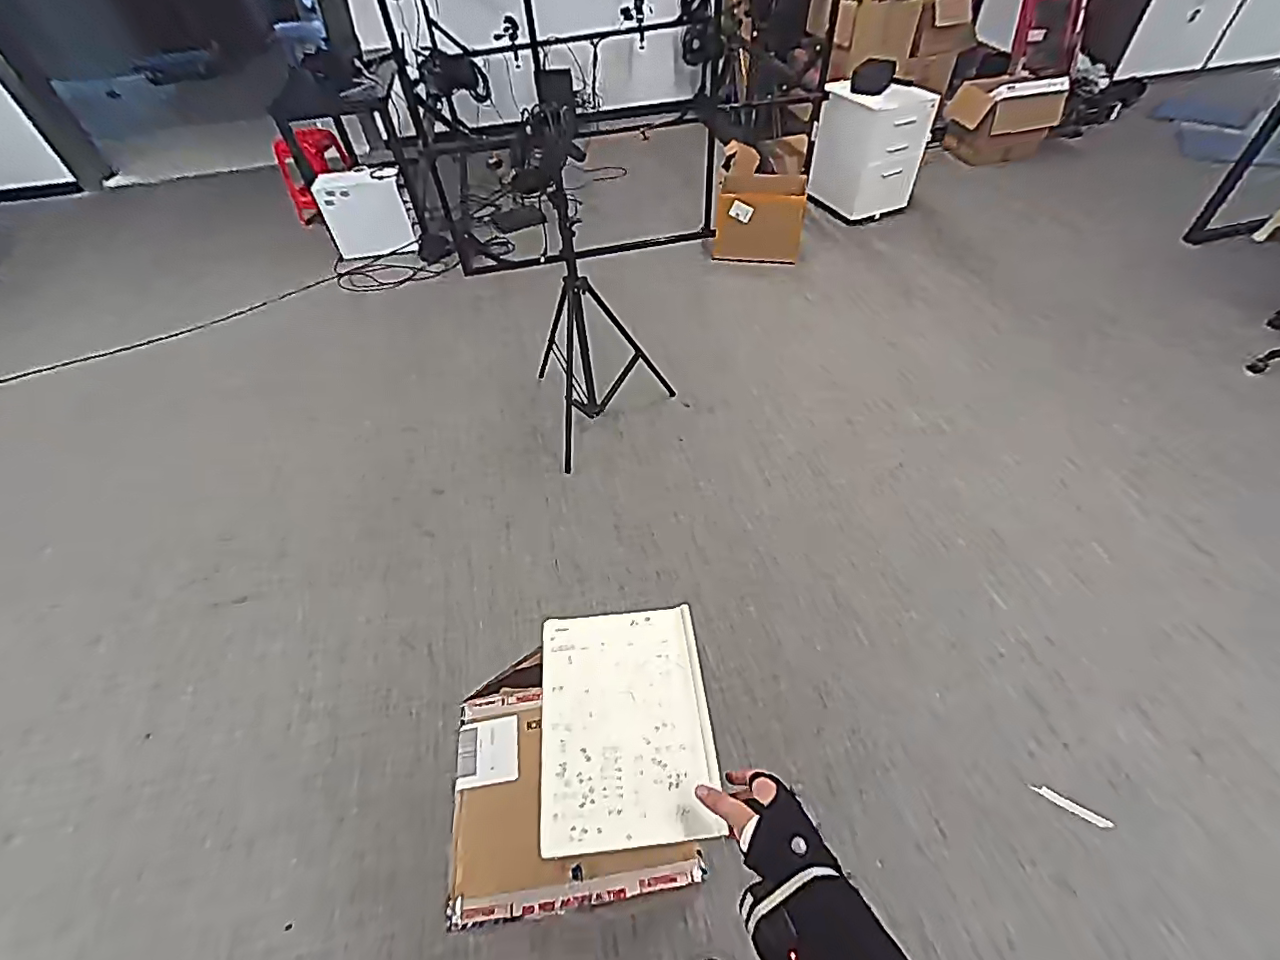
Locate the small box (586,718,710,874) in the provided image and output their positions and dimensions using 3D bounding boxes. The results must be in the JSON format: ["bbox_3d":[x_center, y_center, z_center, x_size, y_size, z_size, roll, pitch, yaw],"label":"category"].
[{"bbox_3d":[-0.004,0.482,0.825,0.179,0.176,0.168,-8,50,-6],"label":"small box"}]

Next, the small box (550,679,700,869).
[{"bbox_3d":[-0.024,0.379,0.697,0.168,0.176,0.179,-5,51,-4],"label":"small box"}]
